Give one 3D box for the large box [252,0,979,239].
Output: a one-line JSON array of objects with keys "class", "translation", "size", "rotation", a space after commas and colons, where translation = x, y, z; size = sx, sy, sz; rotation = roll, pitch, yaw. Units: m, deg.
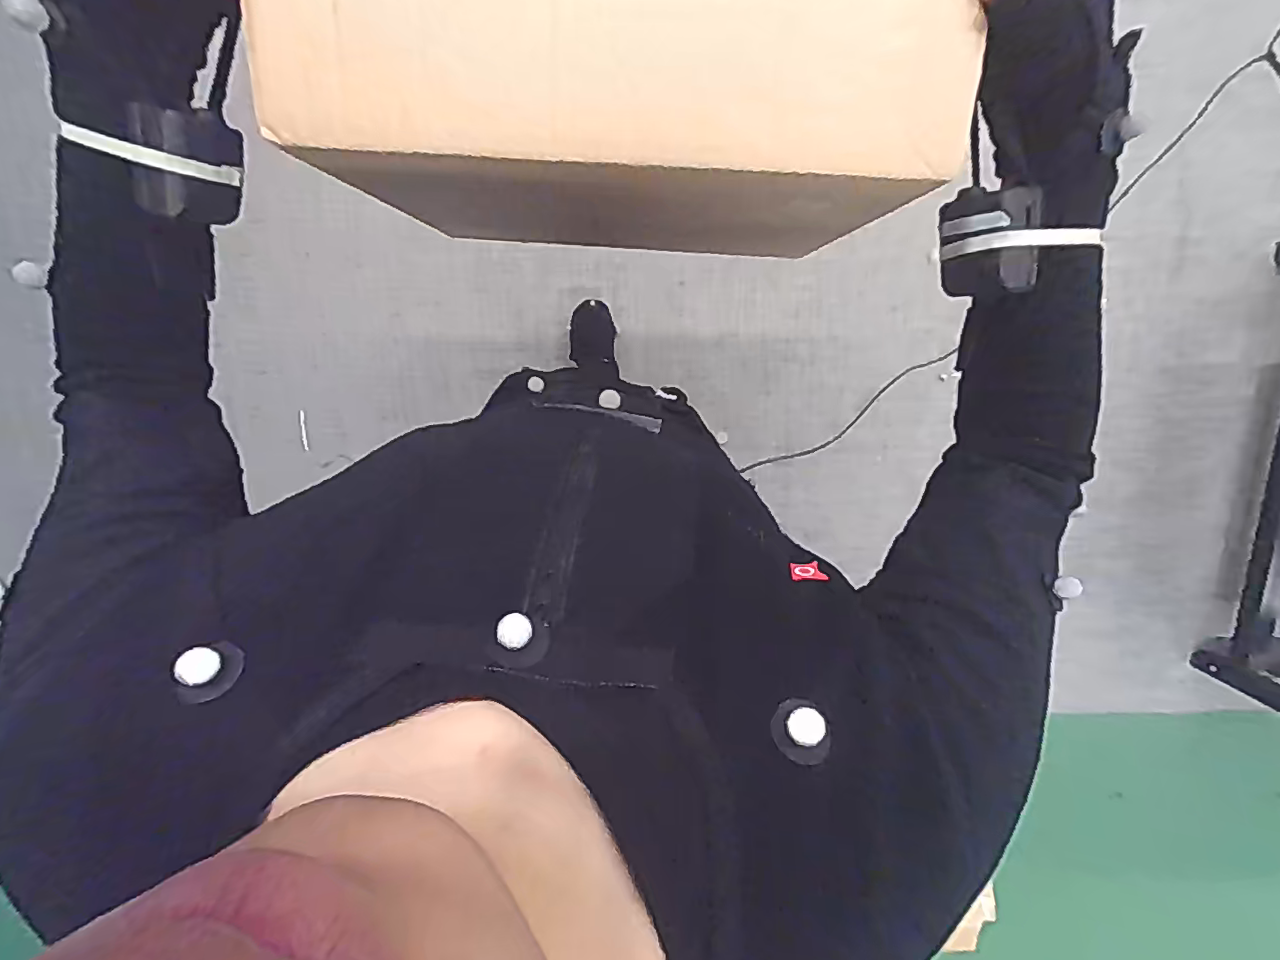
[{"class": "large box", "translation": [-0.012, -0.381, 0.417], "size": [0.408, 0.320, 0.320], "rotation": [2, 106, -2]}]
